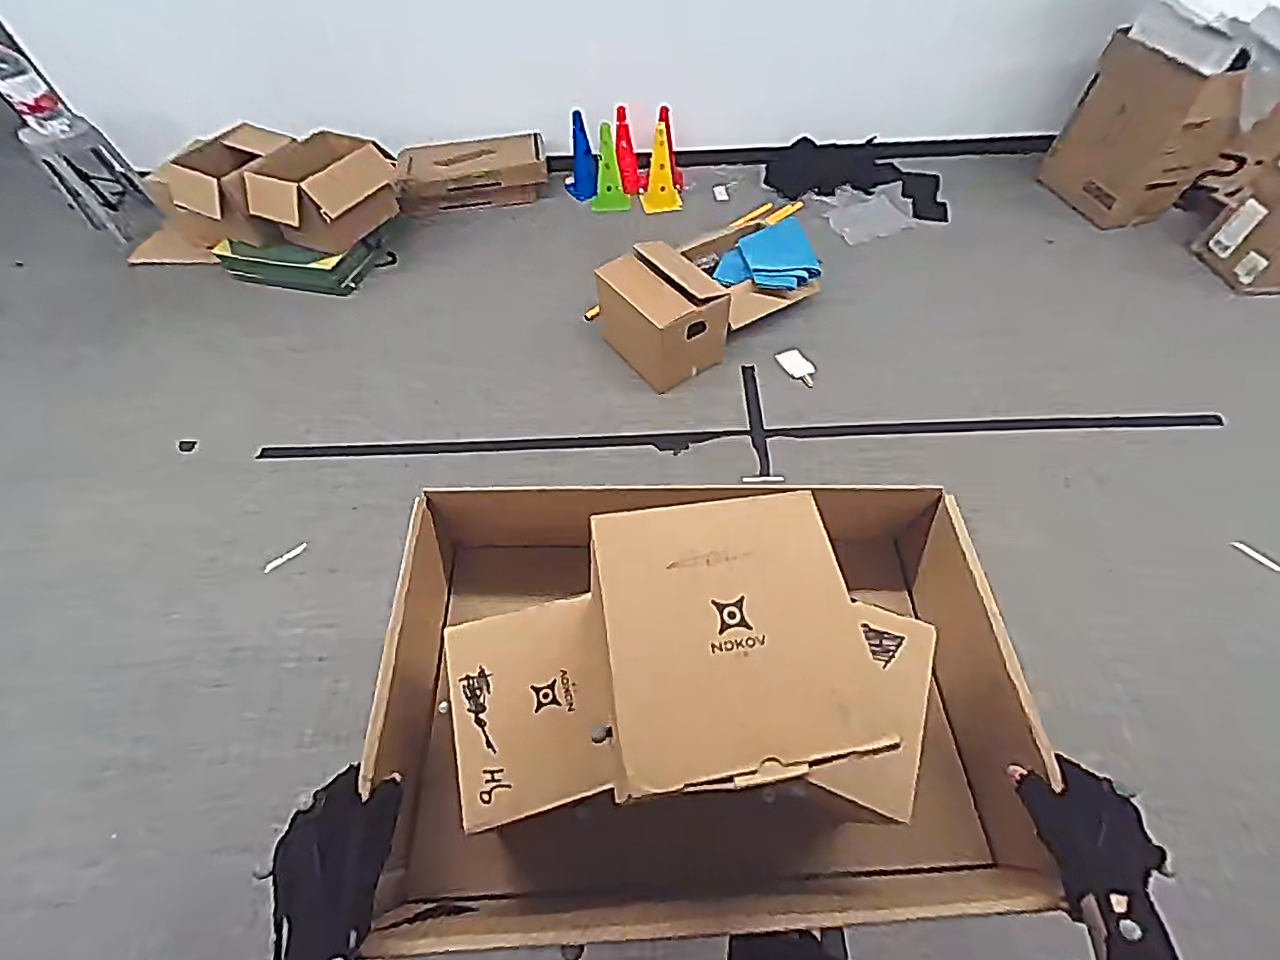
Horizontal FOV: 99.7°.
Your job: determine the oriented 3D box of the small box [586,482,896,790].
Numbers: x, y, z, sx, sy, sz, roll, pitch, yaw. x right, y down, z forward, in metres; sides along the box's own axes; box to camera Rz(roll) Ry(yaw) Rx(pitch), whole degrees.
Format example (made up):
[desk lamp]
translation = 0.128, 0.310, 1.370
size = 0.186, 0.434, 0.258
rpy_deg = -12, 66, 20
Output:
[small box]
translation = 0.052, 0.125, 0.412
size = 0.168, 0.176, 0.179
rpy_deg = -6, 59, -9
